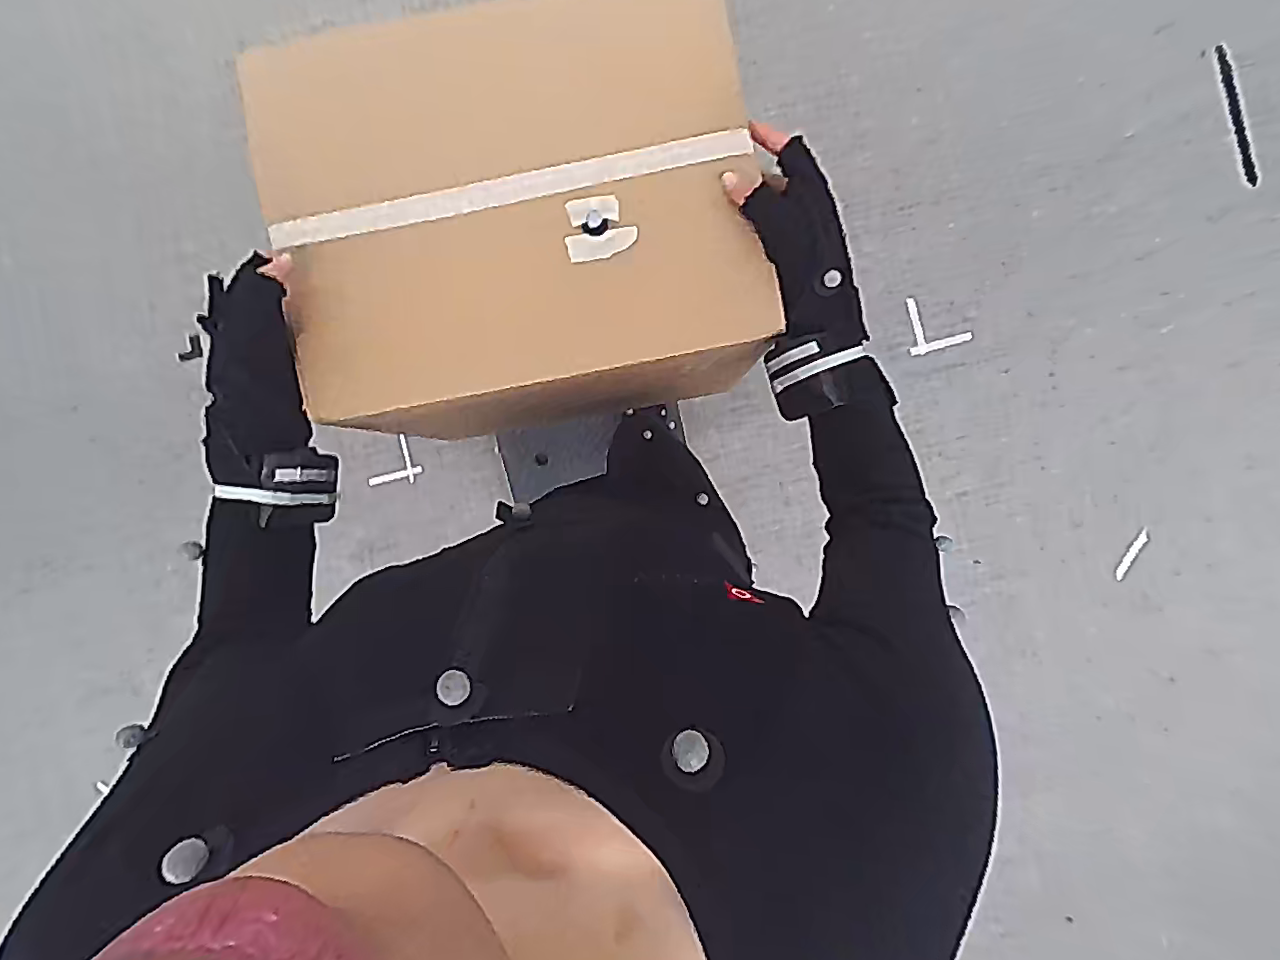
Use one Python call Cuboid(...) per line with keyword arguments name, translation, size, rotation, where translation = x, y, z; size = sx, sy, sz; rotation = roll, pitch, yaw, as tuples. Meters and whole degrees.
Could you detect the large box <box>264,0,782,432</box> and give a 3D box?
Cuboid(name="large box", translation=(-0.100, -0.253, 0.608), size=(0.408, 0.320, 0.320), rotation=(-11, 91, 1))
